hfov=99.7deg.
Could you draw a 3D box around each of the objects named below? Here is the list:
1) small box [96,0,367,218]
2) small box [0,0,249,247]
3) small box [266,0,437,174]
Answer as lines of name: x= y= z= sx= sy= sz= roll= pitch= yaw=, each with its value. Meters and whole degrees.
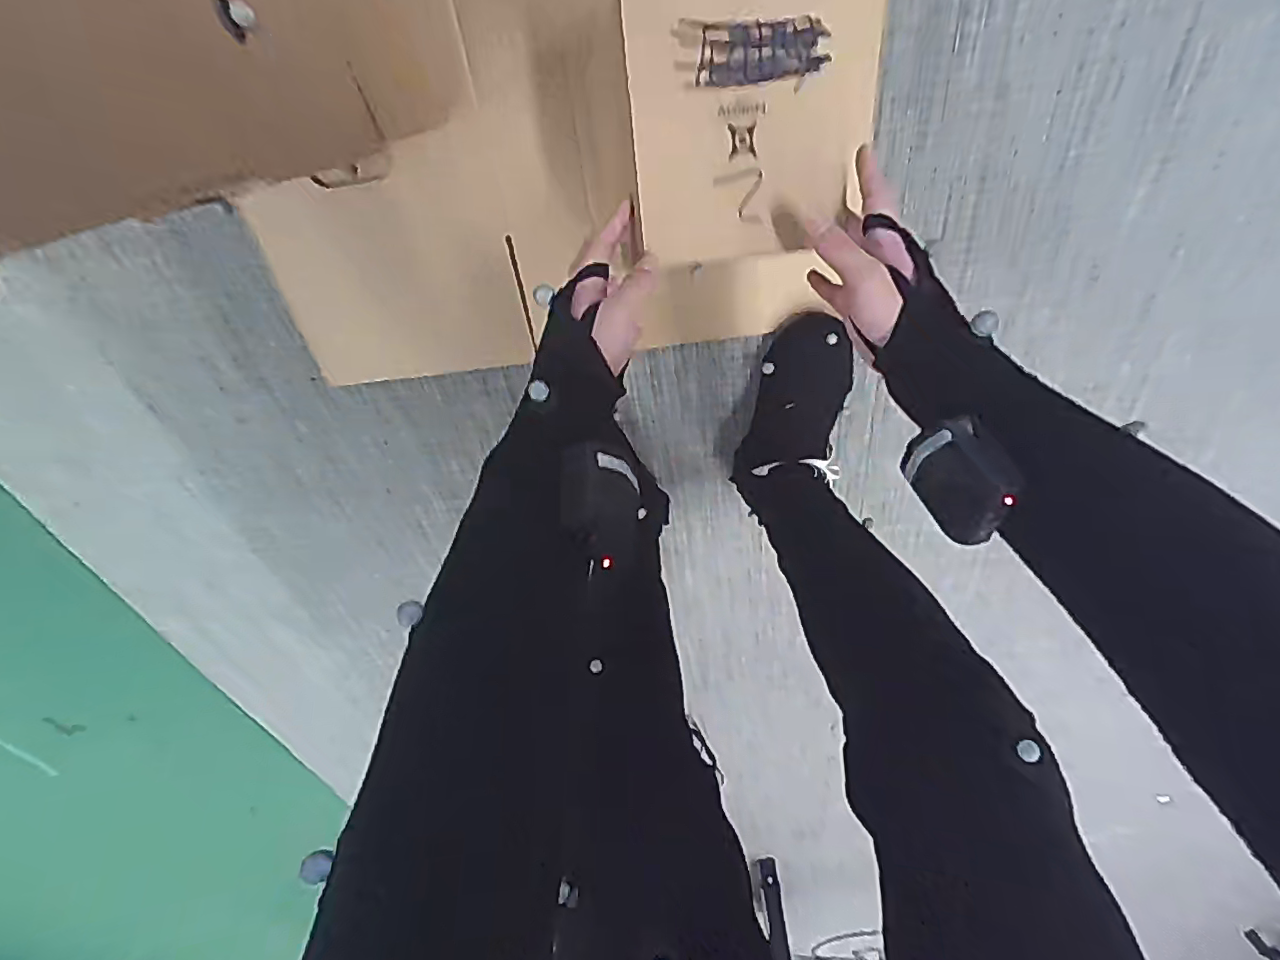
small box: x=-0.300 y=-0.273 z=0.320 sx=0.168 sy=0.176 sz=0.179 roll=-9 pitch=126 yaw=7
small box: x=-0.296 y=-0.176 z=0.189 sx=0.168 sy=0.176 sz=0.179 roll=-8 pitch=126 yaw=7
small box: x=-0.300 y=-0.372 z=0.450 sx=0.168 sy=0.176 sz=0.179 roll=-12 pitch=127 yaw=9
